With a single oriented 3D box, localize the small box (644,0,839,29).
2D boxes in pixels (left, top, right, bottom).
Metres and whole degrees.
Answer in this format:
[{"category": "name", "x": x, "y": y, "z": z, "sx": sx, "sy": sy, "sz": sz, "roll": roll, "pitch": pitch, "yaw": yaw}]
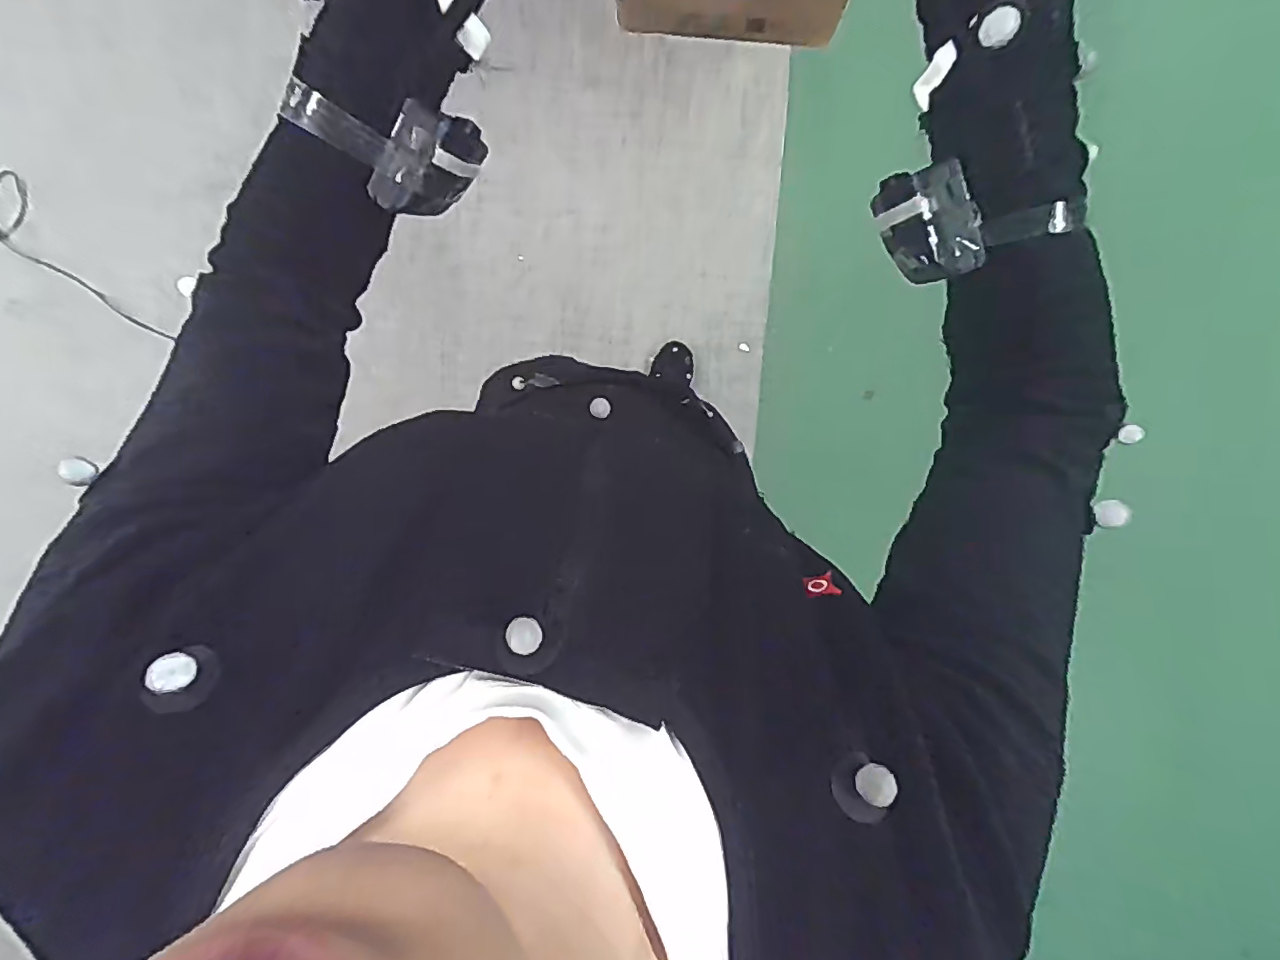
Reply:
[{"category": "small box", "x": 0.071, "y": -0.424, "z": 0.329, "sx": 0.168, "sy": 0.176, "sz": 0.179, "roll": 7, "pitch": 100, "yaw": 2}]
